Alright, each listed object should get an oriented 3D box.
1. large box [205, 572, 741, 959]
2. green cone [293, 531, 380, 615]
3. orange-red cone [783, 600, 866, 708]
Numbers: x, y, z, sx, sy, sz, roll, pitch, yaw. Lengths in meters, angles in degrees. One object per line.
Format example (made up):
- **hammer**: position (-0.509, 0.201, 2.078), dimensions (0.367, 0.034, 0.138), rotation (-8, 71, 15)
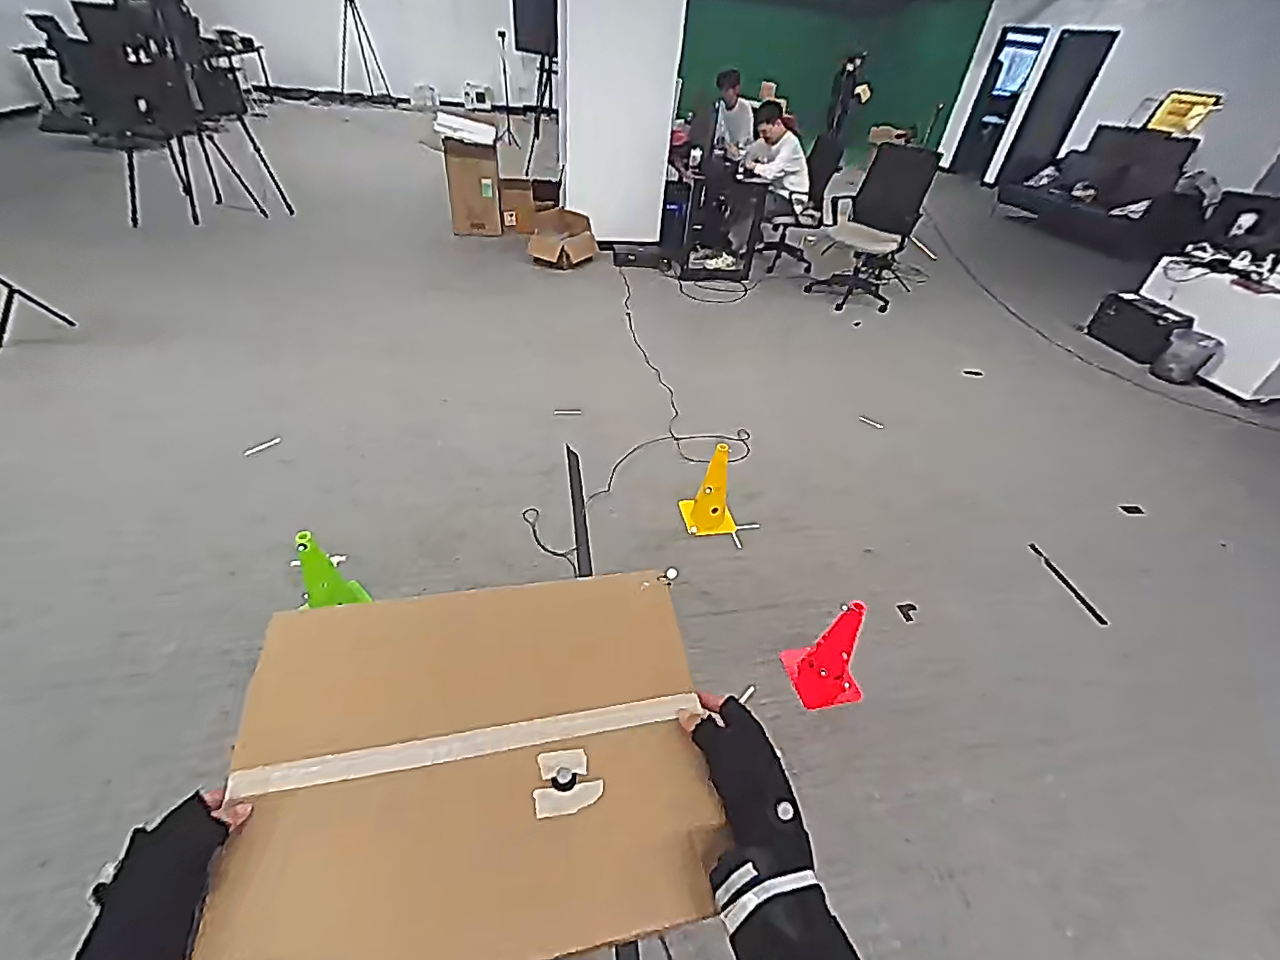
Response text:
- **large box**: position (-0.156, 0.335, 0.605), dimensions (0.408, 0.320, 0.320), rotation (-4, 50, -13)
- **green cone**: position (-0.945, 0.285, 1.610), dimensions (0.200, 0.368, 0.202), rotation (33, 48, 29)
- **orange-red cone**: position (0.580, 0.477, 1.582), dimensions (0.198, 0.360, 0.199), rotation (-4, 39, -13)
